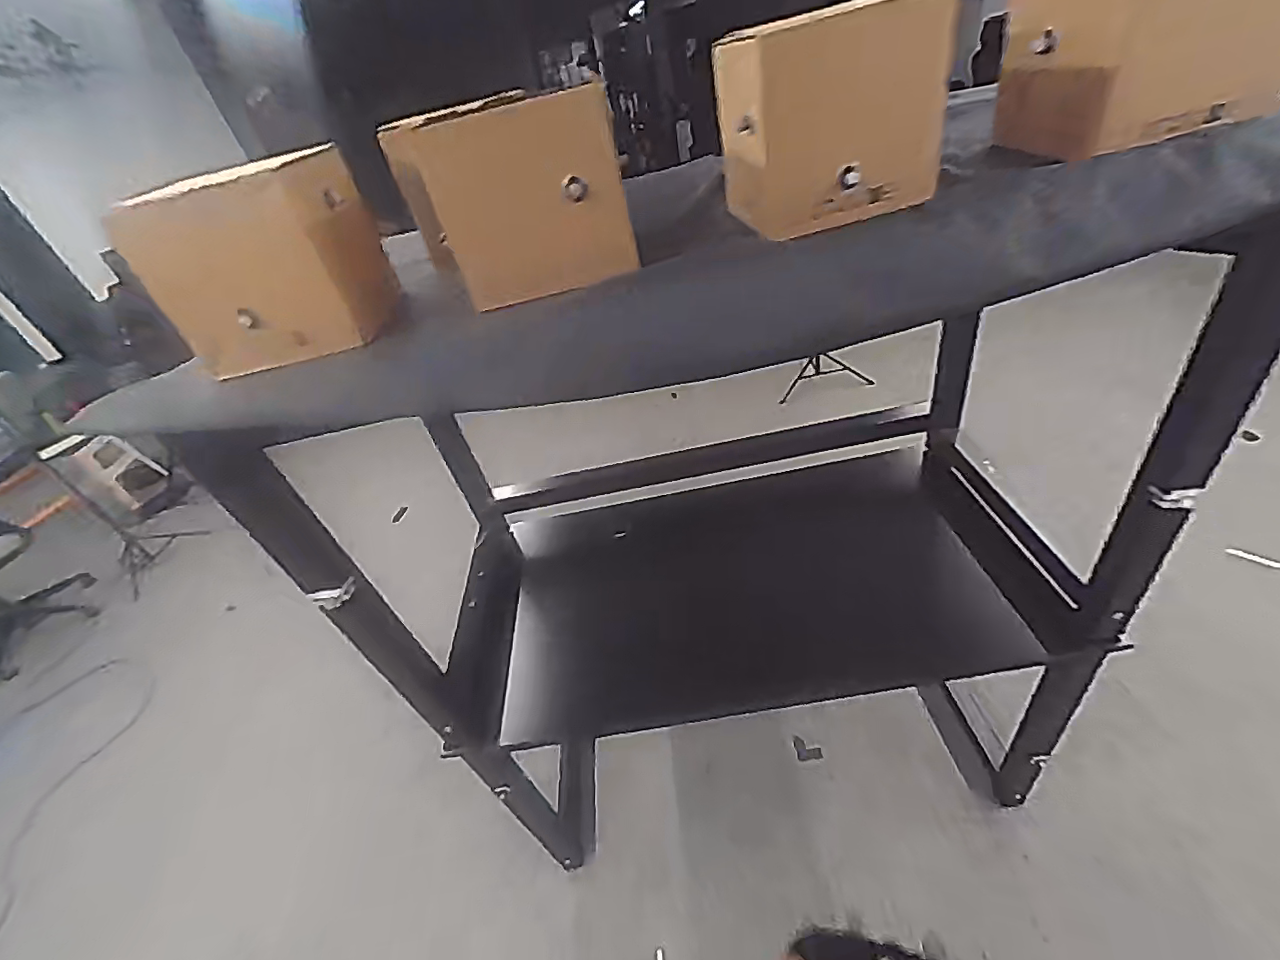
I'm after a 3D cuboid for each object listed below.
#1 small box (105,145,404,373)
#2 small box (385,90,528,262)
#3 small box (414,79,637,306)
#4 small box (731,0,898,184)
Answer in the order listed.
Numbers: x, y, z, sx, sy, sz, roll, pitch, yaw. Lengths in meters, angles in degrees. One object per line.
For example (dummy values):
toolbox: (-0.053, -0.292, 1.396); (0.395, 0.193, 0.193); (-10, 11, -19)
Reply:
small box: (-0.378, -0.237, 0.578); (0.168, 0.176, 0.179); (-13, 38, 1)
small box: (-0.215, -0.419, 0.755); (0.168, 0.176, 0.179); (-11, 37, 5)
small box: (-0.102, -0.302, 0.570); (0.179, 0.176, 0.168); (-12, 35, 1)
small box: (0.221, -0.511, 0.721); (0.168, 0.176, 0.179); (-11, 37, 6)
